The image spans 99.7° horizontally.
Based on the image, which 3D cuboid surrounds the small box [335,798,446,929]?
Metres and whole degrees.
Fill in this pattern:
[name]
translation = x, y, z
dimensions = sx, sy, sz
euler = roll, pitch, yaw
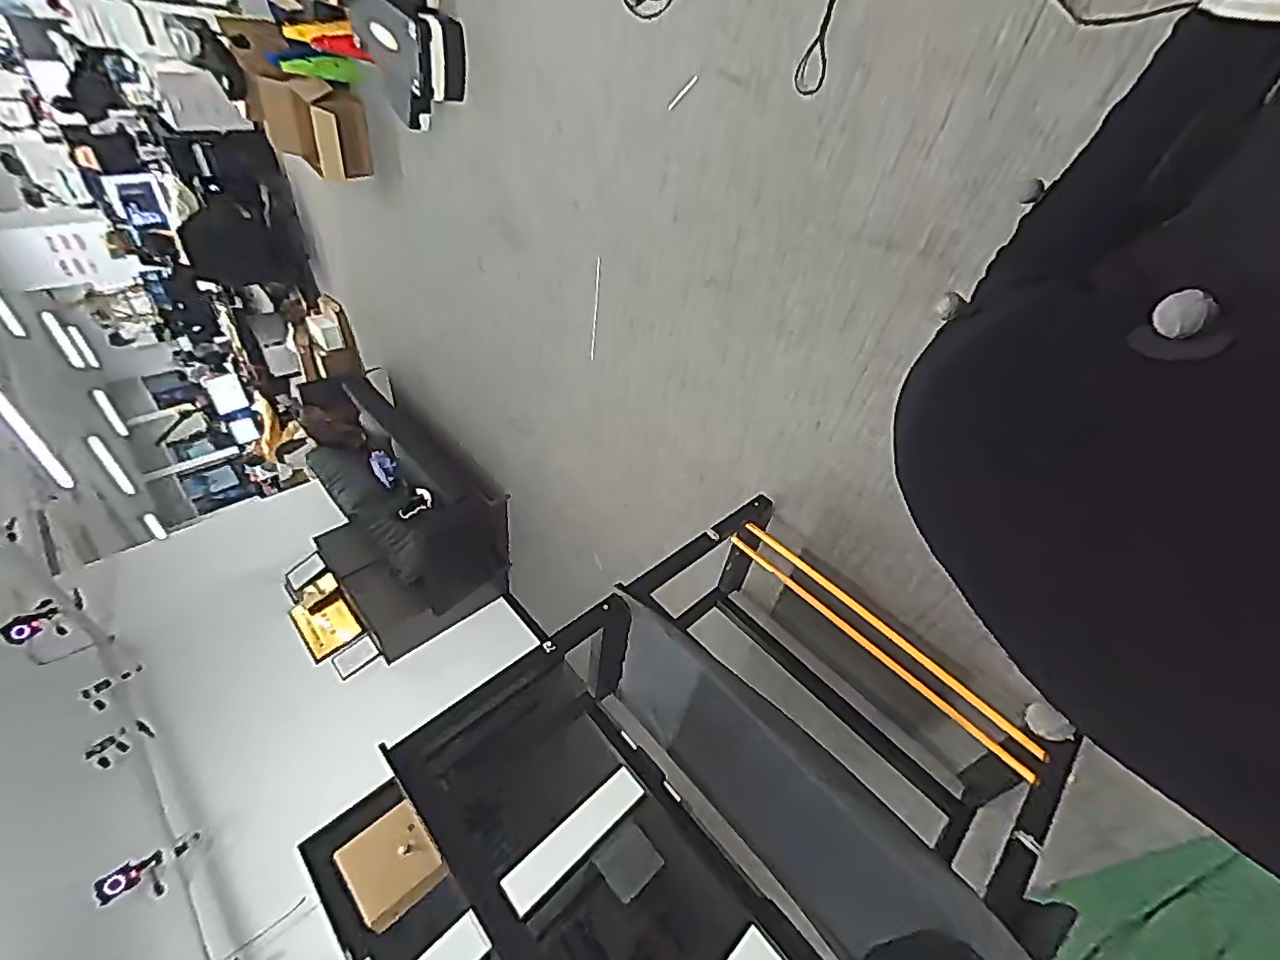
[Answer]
[small box]
translation = -0.560, 0.872, 1.236
dimensions = 0.168, 0.176, 0.179
euler = 43, 141, 24
